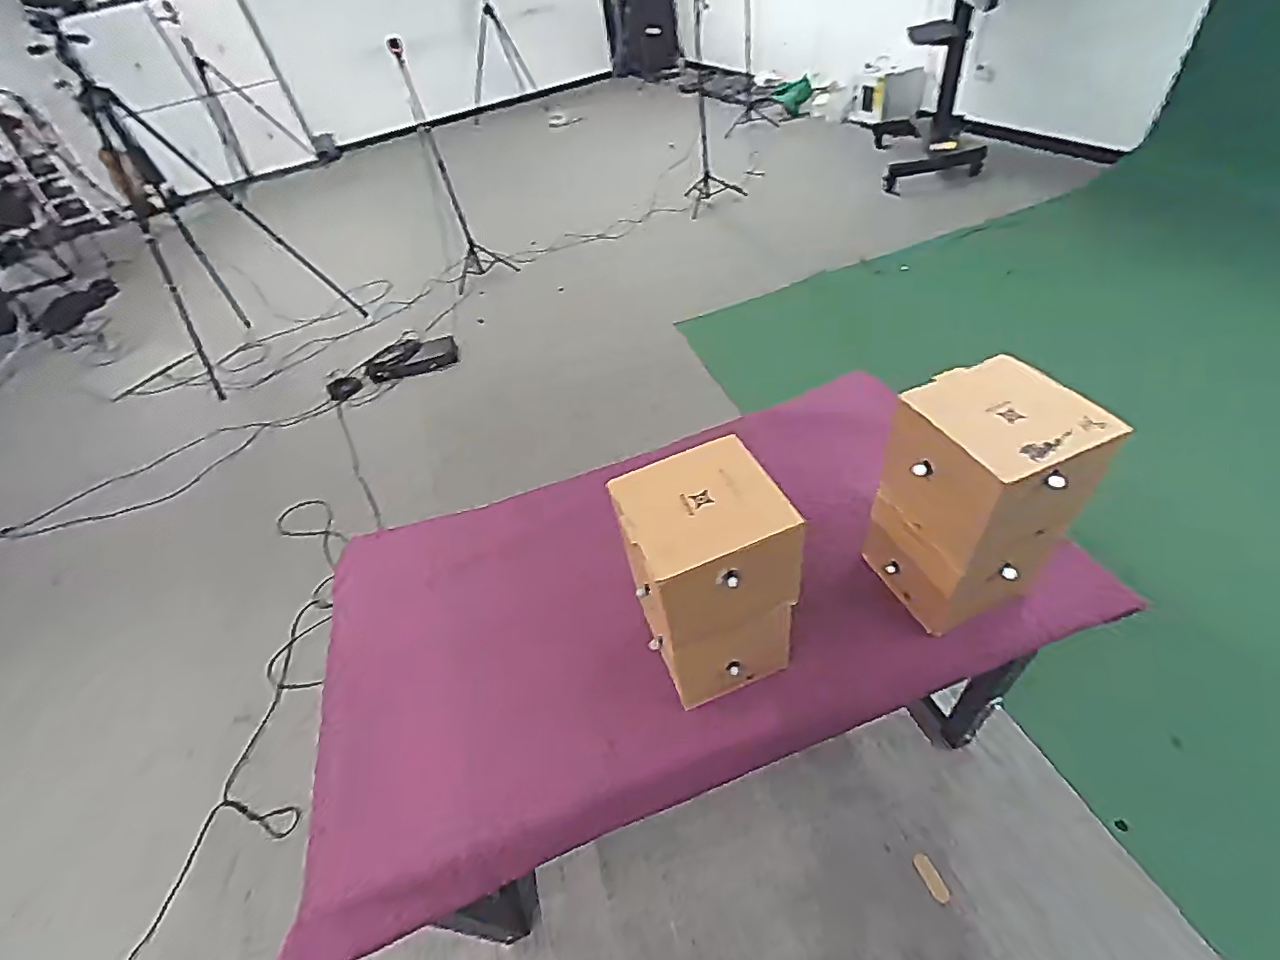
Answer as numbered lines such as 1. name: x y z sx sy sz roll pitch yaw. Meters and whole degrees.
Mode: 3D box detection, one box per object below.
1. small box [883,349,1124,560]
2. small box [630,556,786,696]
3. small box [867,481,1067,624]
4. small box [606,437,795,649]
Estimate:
1. small box: 0.436 -0.031 0.689 0.168 0.176 0.179 -24 46 -5
2. small box: 0.102 0.192 0.794 0.168 0.176 0.179 -21 44 -7
3. small box: 0.465 0.082 0.805 0.179 0.176 0.168 -24 46 -6
4. small box: 0.078 0.081 0.676 0.179 0.176 0.168 -22 46 -7
